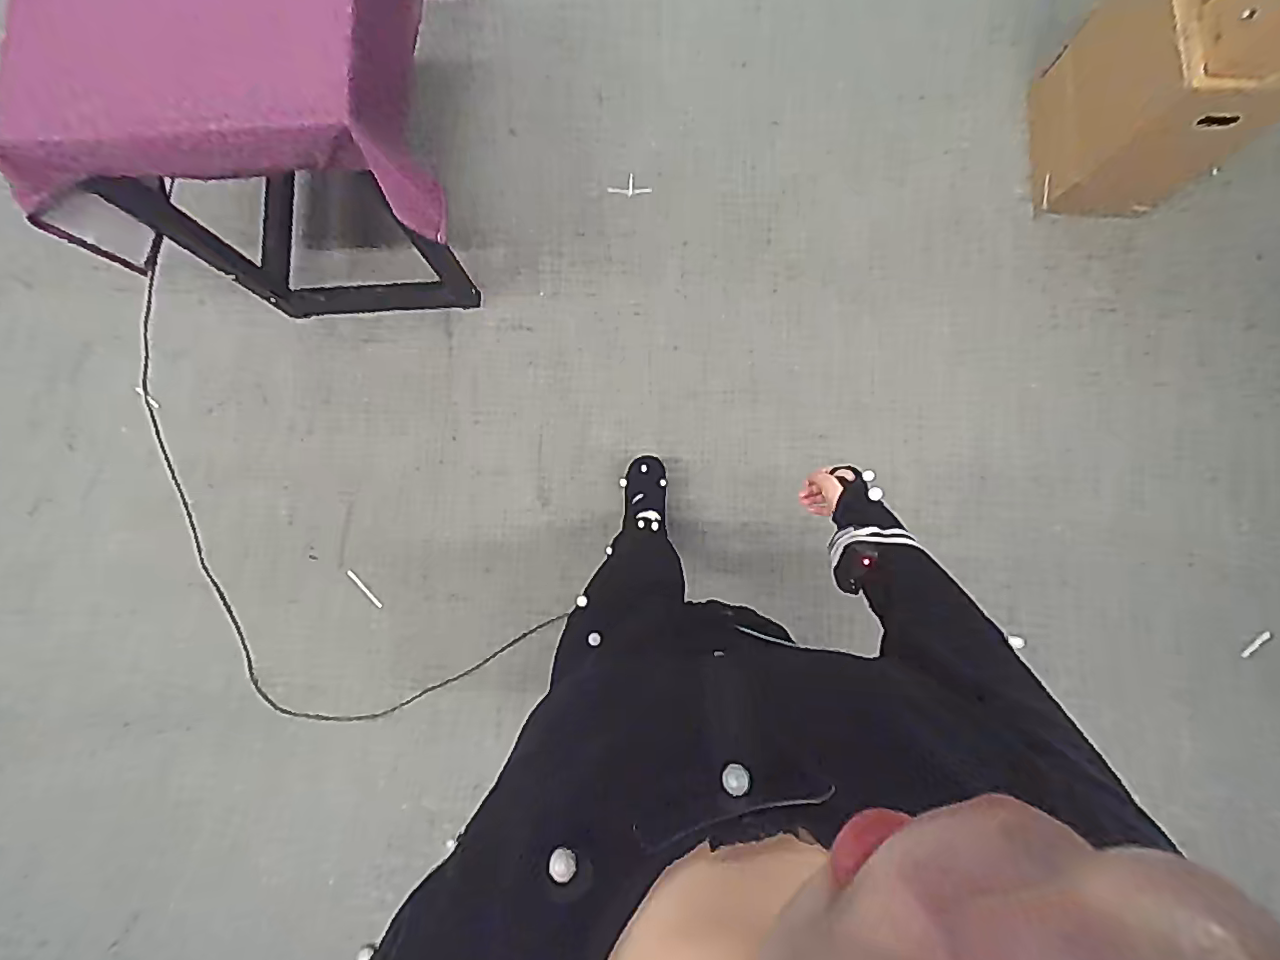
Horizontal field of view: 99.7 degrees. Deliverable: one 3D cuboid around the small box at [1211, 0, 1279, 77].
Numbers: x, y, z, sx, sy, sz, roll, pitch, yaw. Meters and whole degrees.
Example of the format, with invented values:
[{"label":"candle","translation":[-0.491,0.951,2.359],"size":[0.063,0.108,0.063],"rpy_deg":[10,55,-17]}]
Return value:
[{"label":"small box","translation":[1.291,-0.941,1.068],"size":[0.179,0.176,0.168],"rpy_deg":[4,82,2]}]
